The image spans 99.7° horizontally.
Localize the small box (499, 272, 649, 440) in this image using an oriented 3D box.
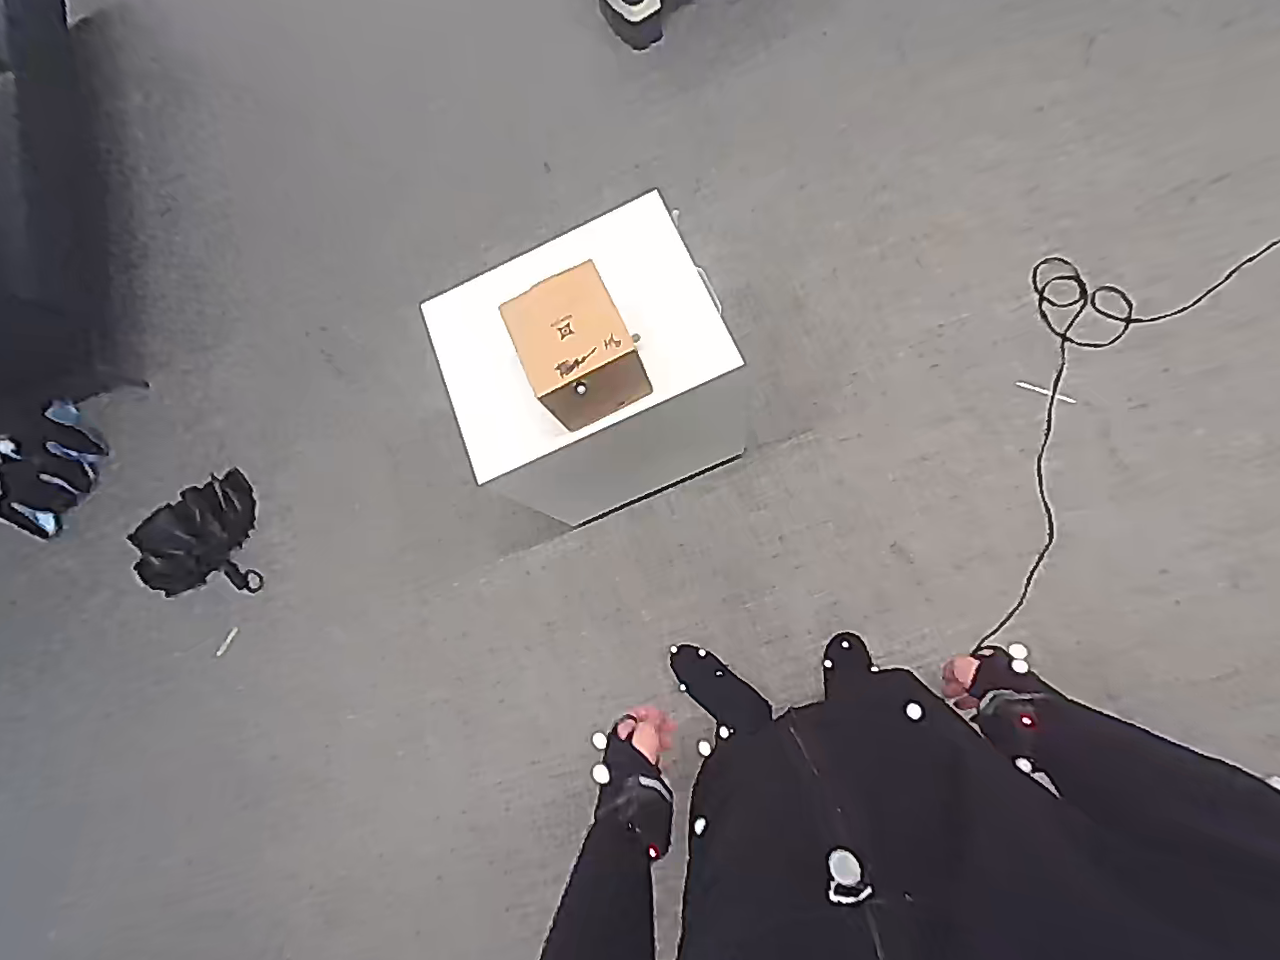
[{"bbox_3d":[-0.101,-0.193,0.885,0.168,0.176,0.179,-27,72,4],"label":"small box"}]
